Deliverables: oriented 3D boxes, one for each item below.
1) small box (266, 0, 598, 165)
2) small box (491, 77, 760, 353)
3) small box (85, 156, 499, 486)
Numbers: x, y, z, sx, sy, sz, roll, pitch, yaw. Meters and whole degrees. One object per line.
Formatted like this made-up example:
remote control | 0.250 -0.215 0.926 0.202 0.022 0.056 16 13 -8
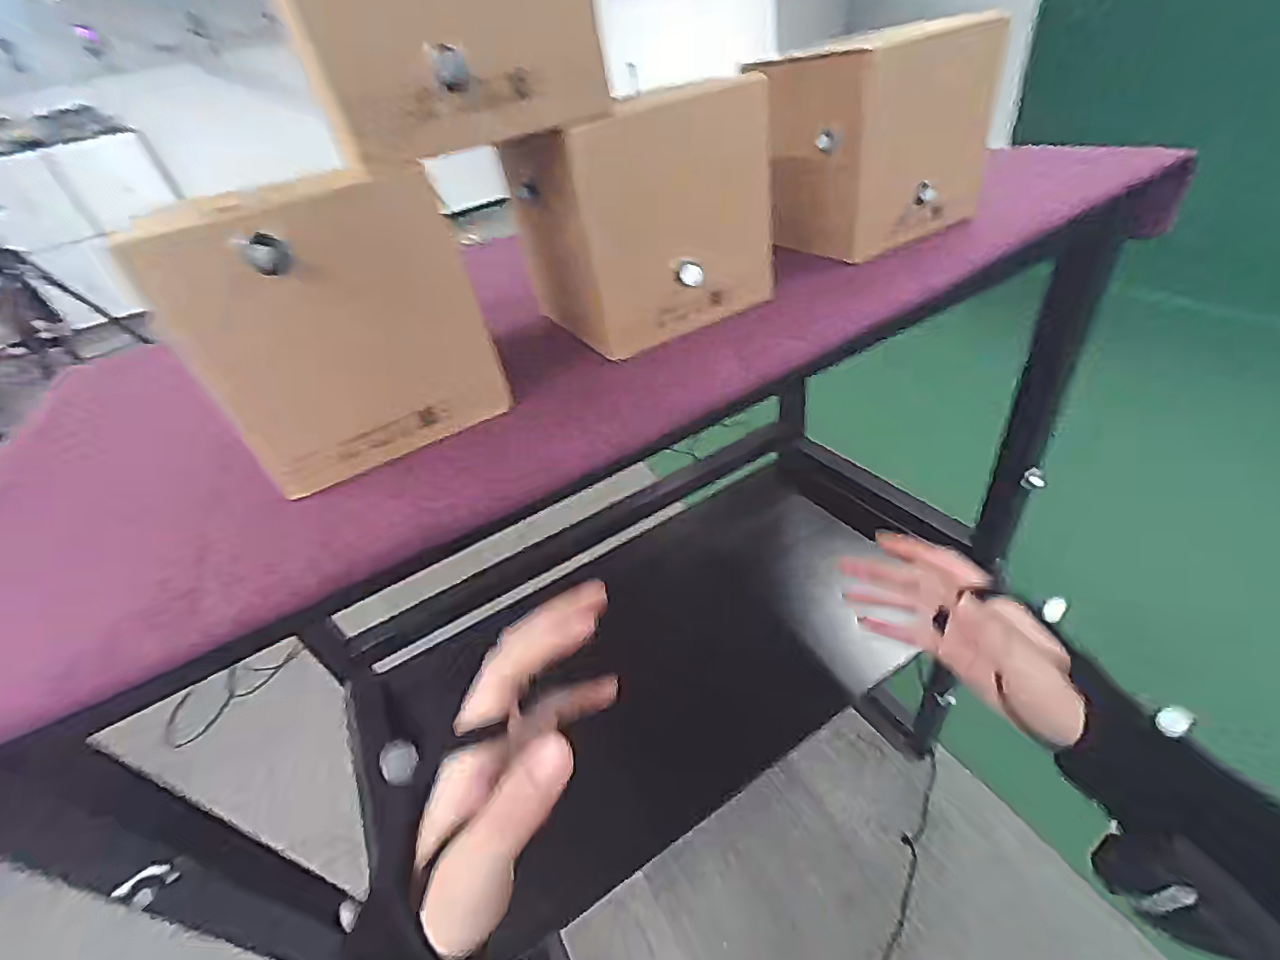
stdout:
small box | -0.145 -0.308 0.343 0.168 0.176 0.179 -26 39 -16
small box | -0.013 -0.231 0.477 0.168 0.176 0.179 -27 40 -18
small box | -0.226 -0.123 0.395 0.168 0.176 0.179 -28 39 -18
